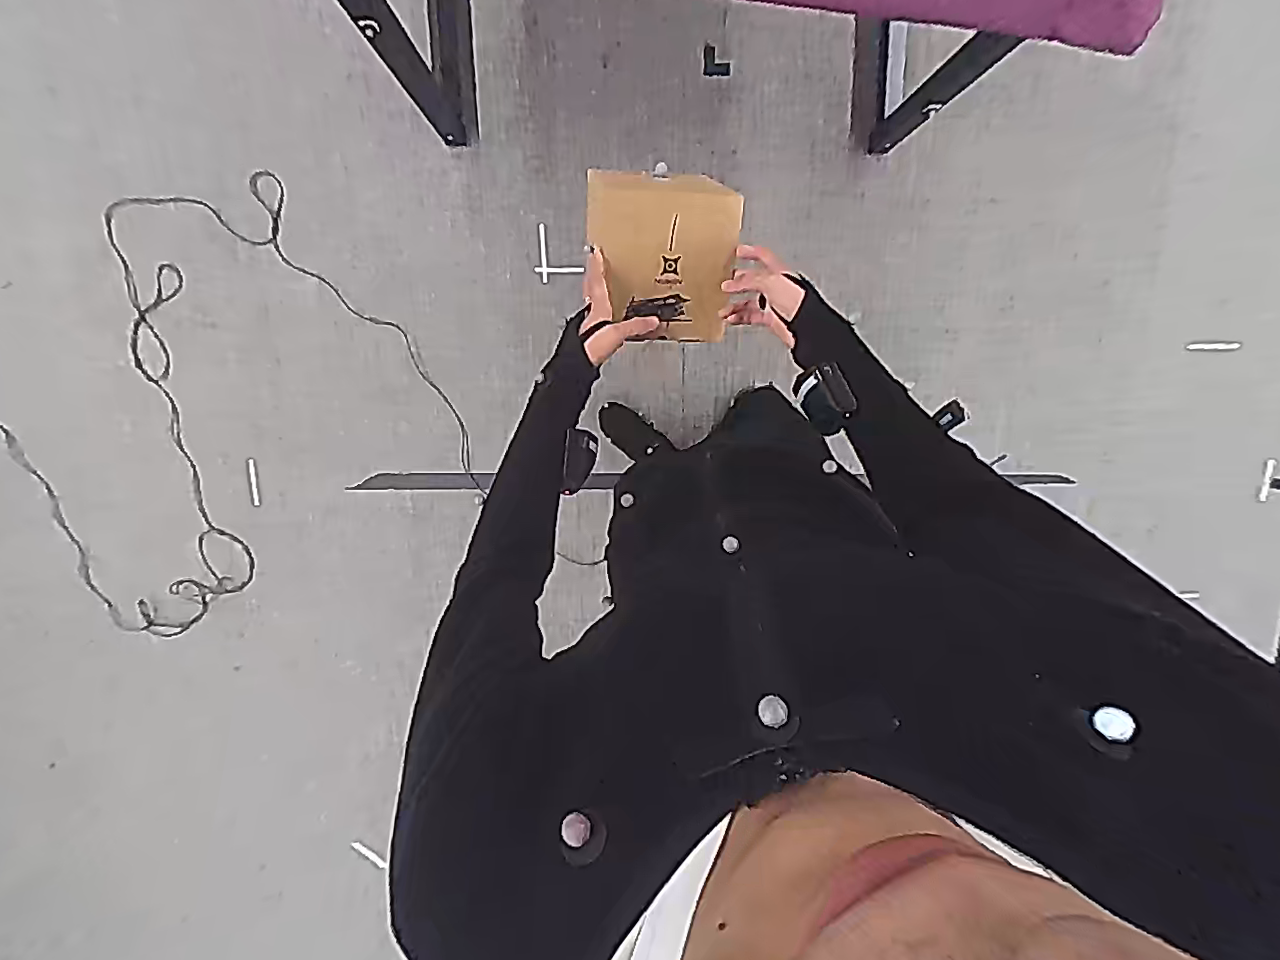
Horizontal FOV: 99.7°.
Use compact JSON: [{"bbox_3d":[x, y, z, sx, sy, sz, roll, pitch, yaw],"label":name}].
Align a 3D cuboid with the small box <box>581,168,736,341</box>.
[{"bbox_3d":[0.012,-0.300,0.720,0.168,0.176,0.179,-3,126,-11],"label":"small box"}]
